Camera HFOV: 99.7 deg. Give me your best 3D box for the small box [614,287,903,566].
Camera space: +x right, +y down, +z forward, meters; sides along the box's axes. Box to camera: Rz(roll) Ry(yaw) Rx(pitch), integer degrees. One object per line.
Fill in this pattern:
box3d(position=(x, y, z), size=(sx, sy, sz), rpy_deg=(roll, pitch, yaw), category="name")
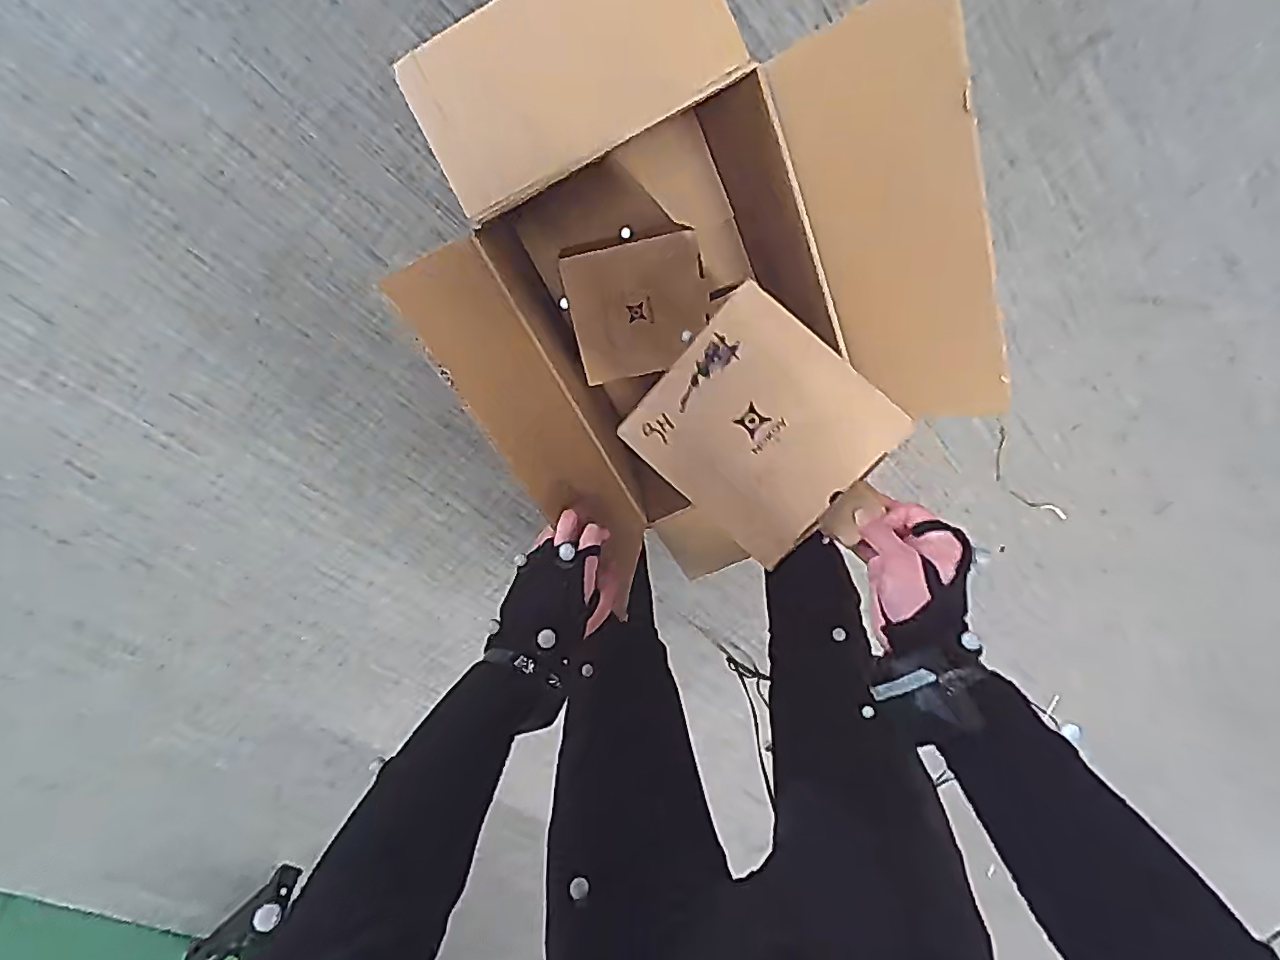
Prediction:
box3d(position=(0.106, -0.053, 0.519), size=(0.179, 0.176, 0.168), rpy_deg=(40, 102, 3), category="small box")
